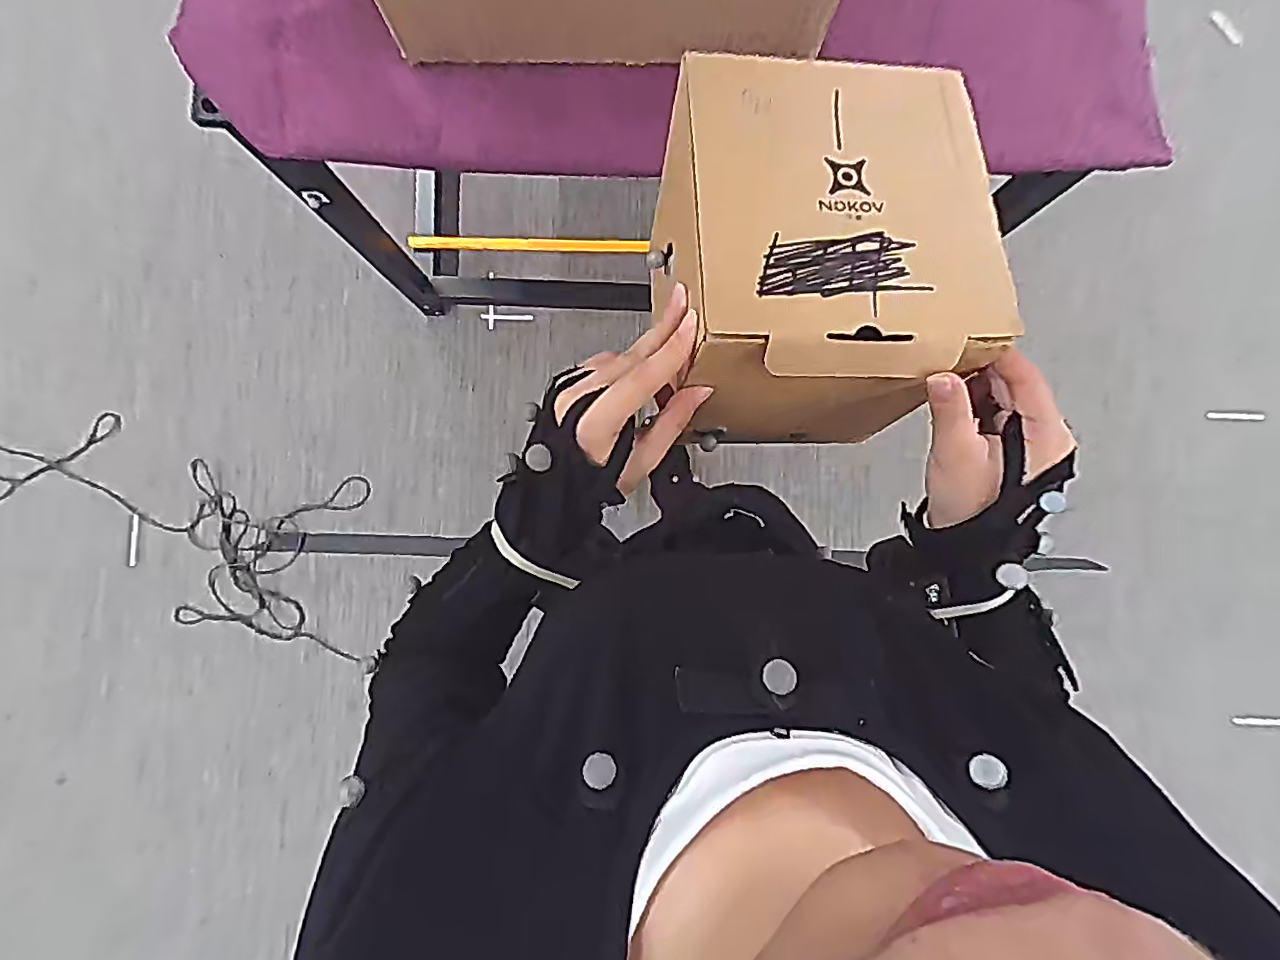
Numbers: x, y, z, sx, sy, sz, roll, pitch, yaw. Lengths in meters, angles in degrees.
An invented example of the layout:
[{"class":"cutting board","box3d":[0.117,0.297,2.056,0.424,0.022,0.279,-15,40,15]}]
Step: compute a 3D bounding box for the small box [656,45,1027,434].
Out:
[{"class":"small box","box3d":[0.103,-0.134,0.359,0.168,0.176,0.179,-1,76,-6]}]
